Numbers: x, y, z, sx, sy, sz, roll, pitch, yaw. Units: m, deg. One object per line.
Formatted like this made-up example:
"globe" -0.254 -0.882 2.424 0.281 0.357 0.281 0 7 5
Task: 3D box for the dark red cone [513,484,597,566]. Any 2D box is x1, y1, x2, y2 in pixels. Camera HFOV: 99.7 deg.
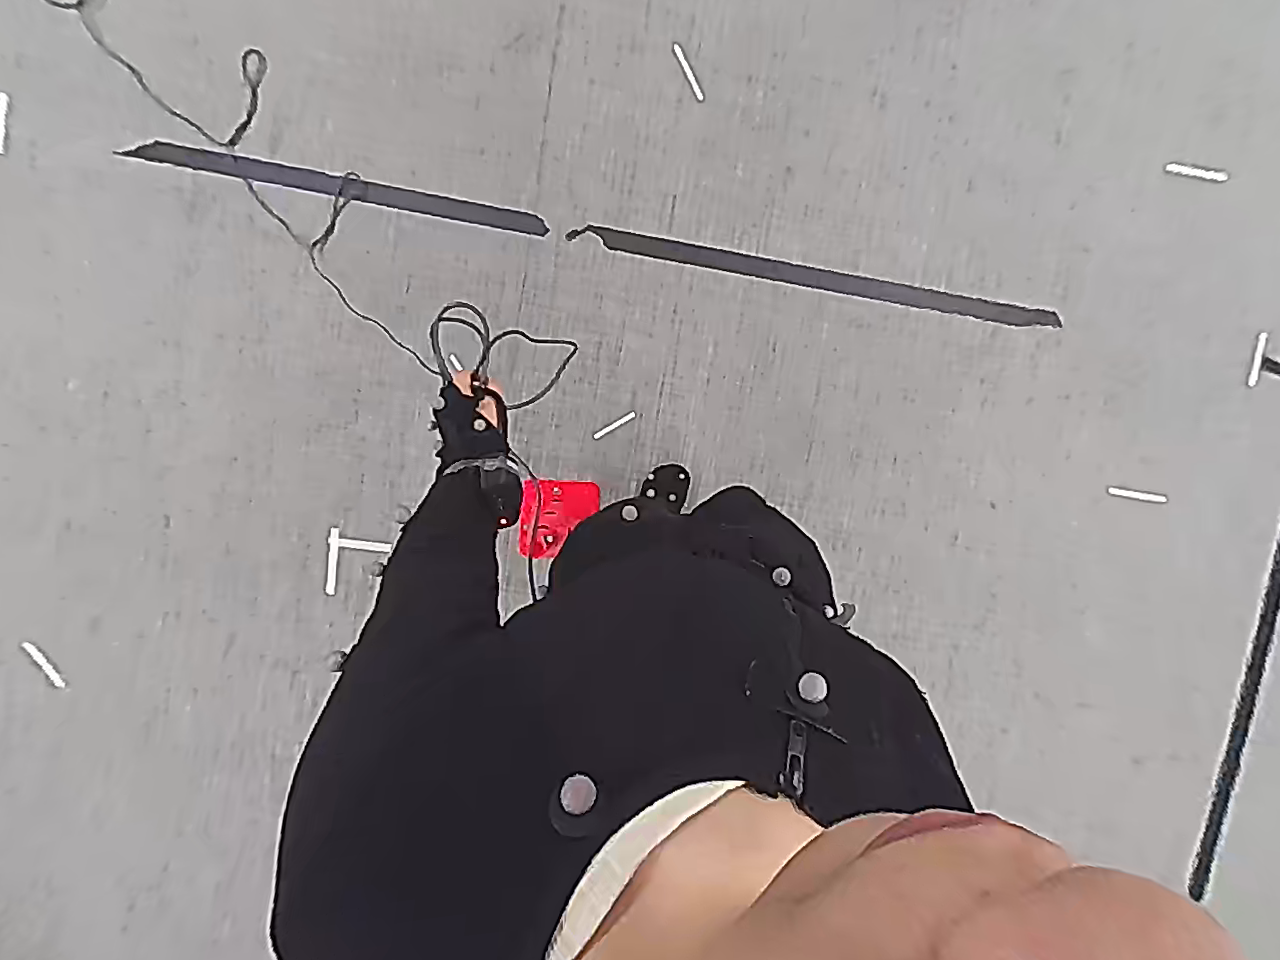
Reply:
"dark red cone" -0.205 0.119 1.162 0.202 0.394 0.201 2 93 -1
